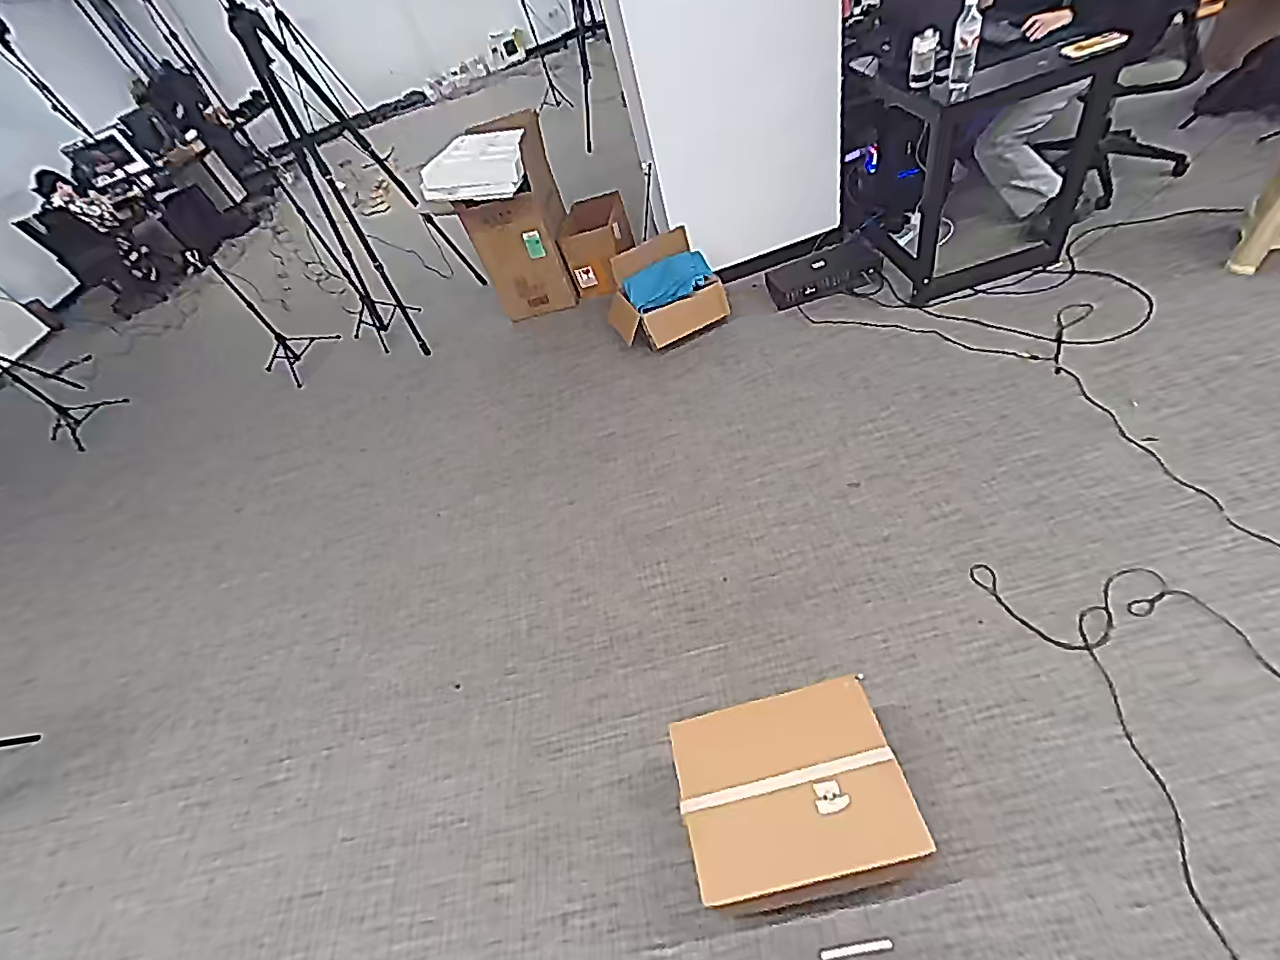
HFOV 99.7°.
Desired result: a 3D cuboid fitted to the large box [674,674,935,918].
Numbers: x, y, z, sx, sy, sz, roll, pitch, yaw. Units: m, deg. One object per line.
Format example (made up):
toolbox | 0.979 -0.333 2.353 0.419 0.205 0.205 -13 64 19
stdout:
large box | 0.321 0.663 1.125 0.408 0.320 0.320 -17 46 4
